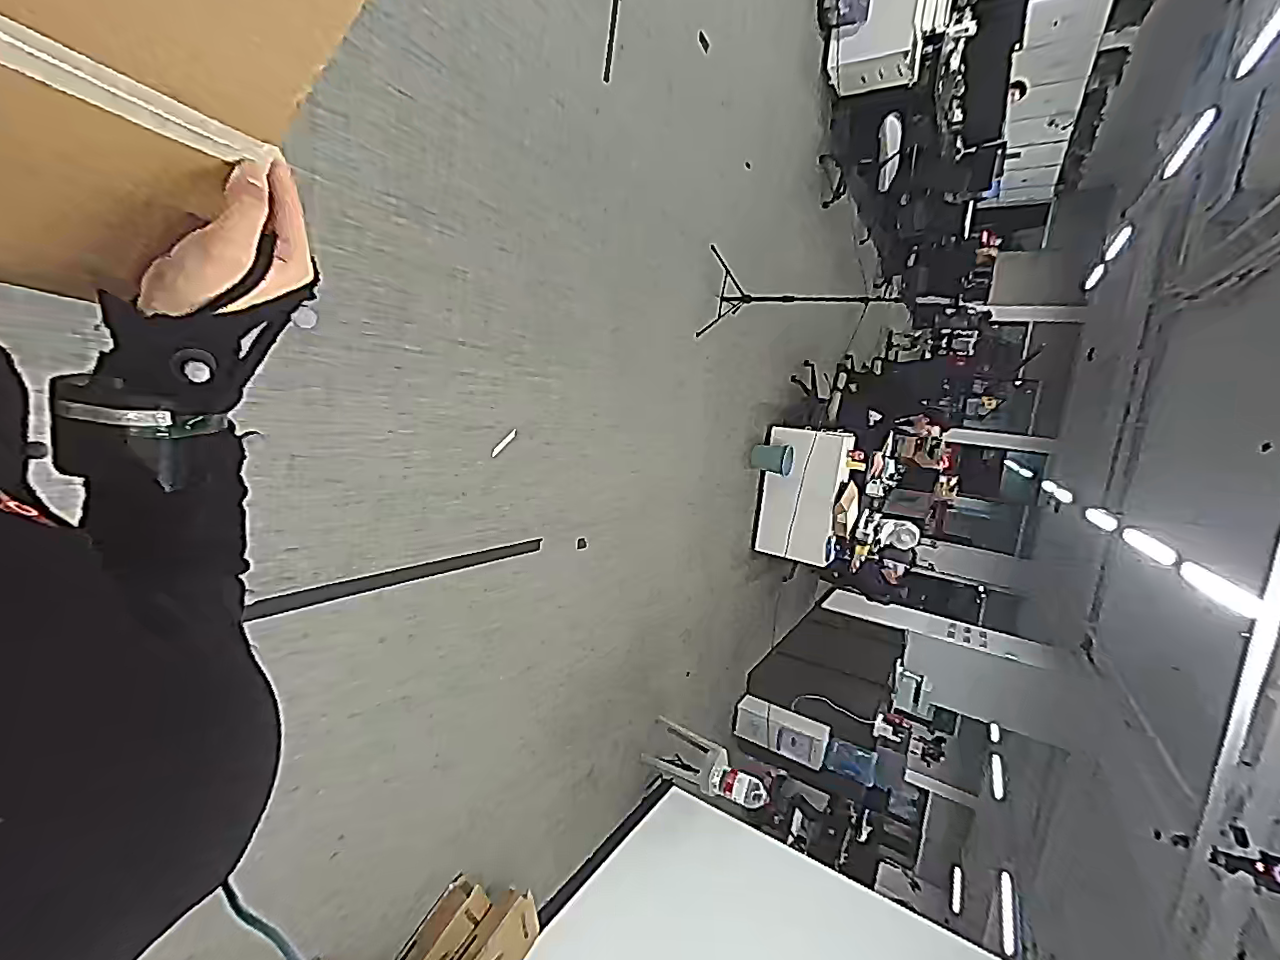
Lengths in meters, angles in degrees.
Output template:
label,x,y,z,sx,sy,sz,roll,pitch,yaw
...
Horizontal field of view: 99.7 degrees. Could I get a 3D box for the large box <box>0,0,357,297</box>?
label,x,y,z,sx,sy,sz,roll,pitch,yaw
large box,-0.371,-0.328,0.177,0.408,0.320,0.320,1,64,-58
